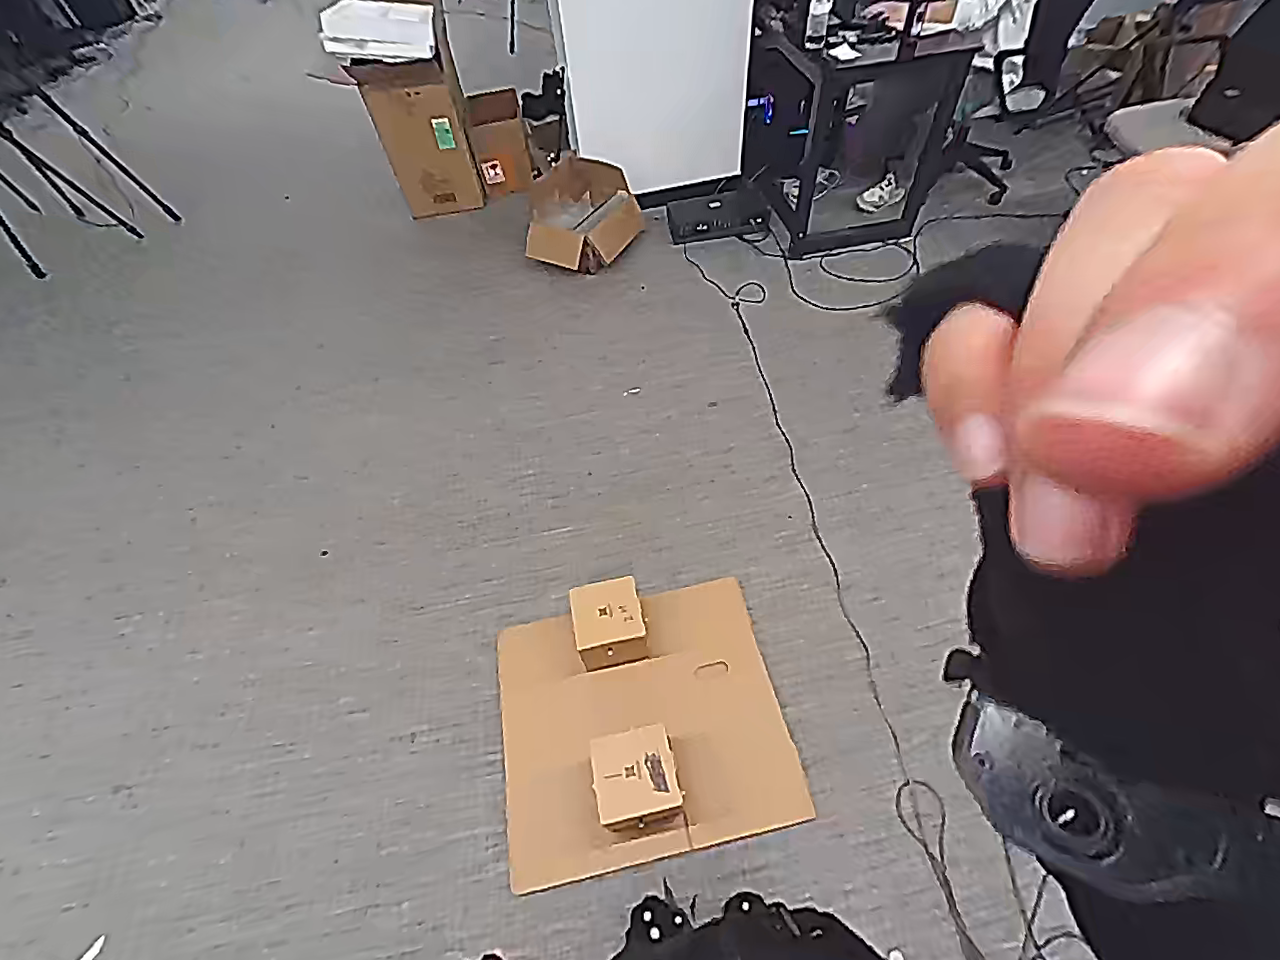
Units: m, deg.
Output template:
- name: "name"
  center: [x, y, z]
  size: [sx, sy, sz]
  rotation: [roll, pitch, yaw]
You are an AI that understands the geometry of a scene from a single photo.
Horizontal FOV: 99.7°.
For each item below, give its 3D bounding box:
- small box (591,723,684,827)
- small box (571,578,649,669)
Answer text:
- name: "small box"
  center: [-0.005, 0.669, 1.222]
  size: [0.179, 0.176, 0.168]
  rotation: [-12, 54, -4]
- name: "small box"
  center: [-0.077, 0.384, 1.434]
  size: [0.179, 0.176, 0.168]
  rotation: [-11, 55, -4]
